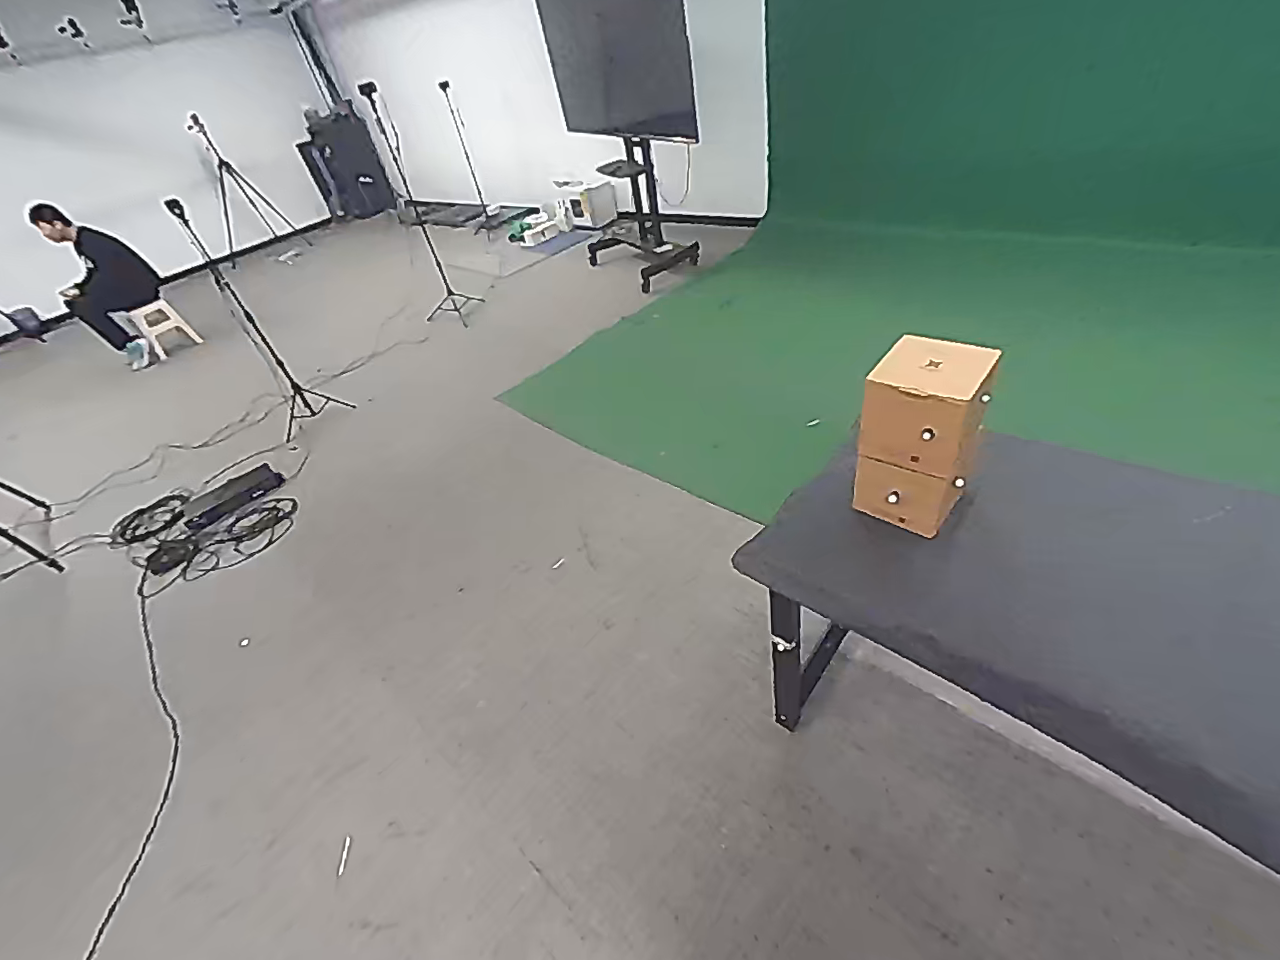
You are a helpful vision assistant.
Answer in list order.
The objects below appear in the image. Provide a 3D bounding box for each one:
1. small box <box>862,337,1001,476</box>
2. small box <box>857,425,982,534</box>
[{"bbox_3d":[0.521,-0.134,0.984,0.168,0.176,0.179,24,52,35],"label":"small box"},{"bbox_3d":[0.558,-0.021,1.096,0.168,0.176,0.179,26,54,36],"label":"small box"}]
